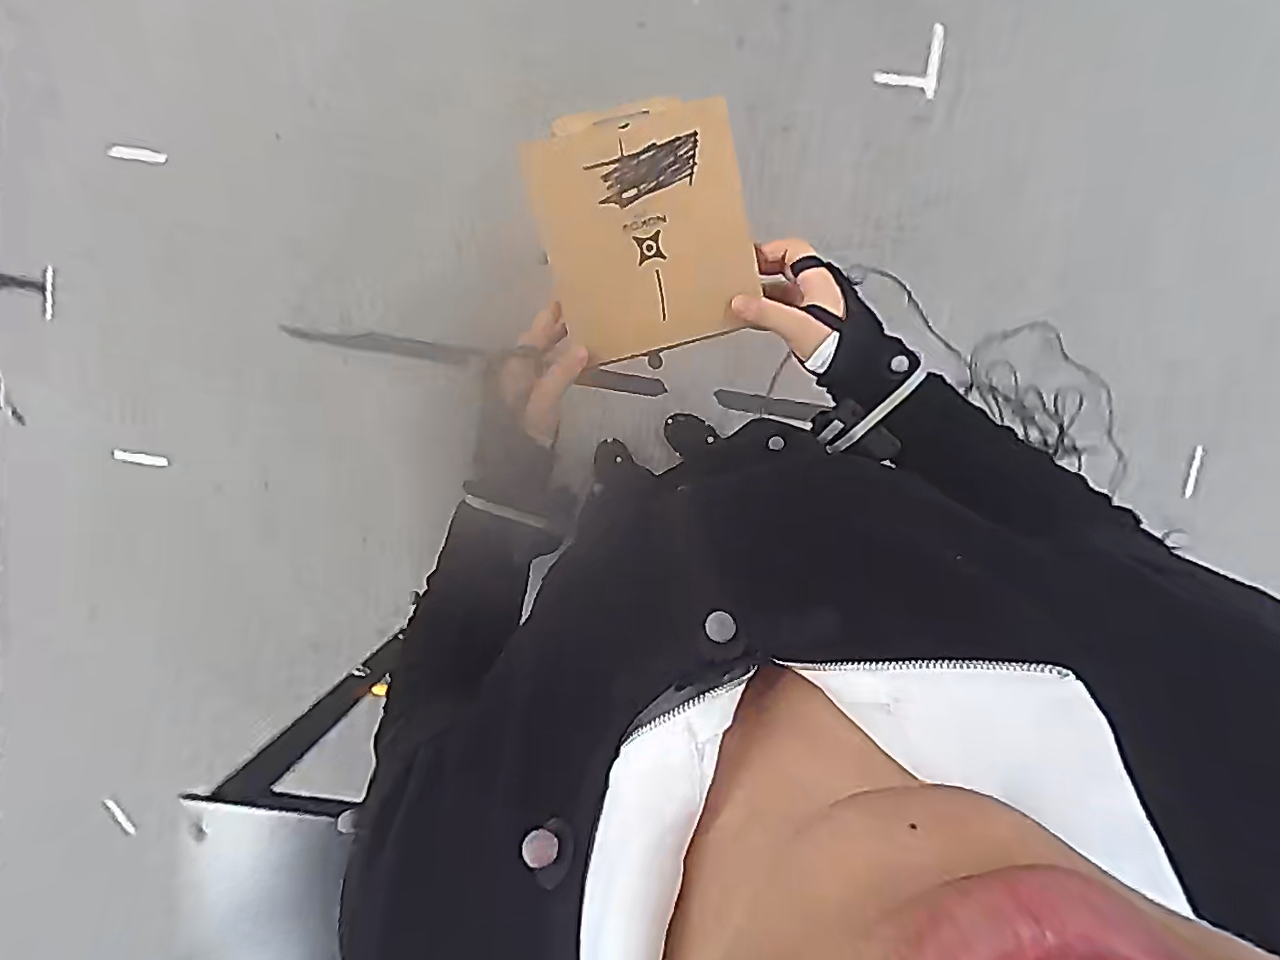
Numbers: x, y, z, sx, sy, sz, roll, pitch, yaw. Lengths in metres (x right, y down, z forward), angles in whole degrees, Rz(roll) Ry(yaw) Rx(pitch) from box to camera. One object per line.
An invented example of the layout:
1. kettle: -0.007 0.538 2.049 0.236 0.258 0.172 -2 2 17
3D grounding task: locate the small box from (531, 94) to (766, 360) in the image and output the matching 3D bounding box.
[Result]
1. small box: 0.004 -0.218 0.514 0.168 0.176 0.179 -13 103 -1
